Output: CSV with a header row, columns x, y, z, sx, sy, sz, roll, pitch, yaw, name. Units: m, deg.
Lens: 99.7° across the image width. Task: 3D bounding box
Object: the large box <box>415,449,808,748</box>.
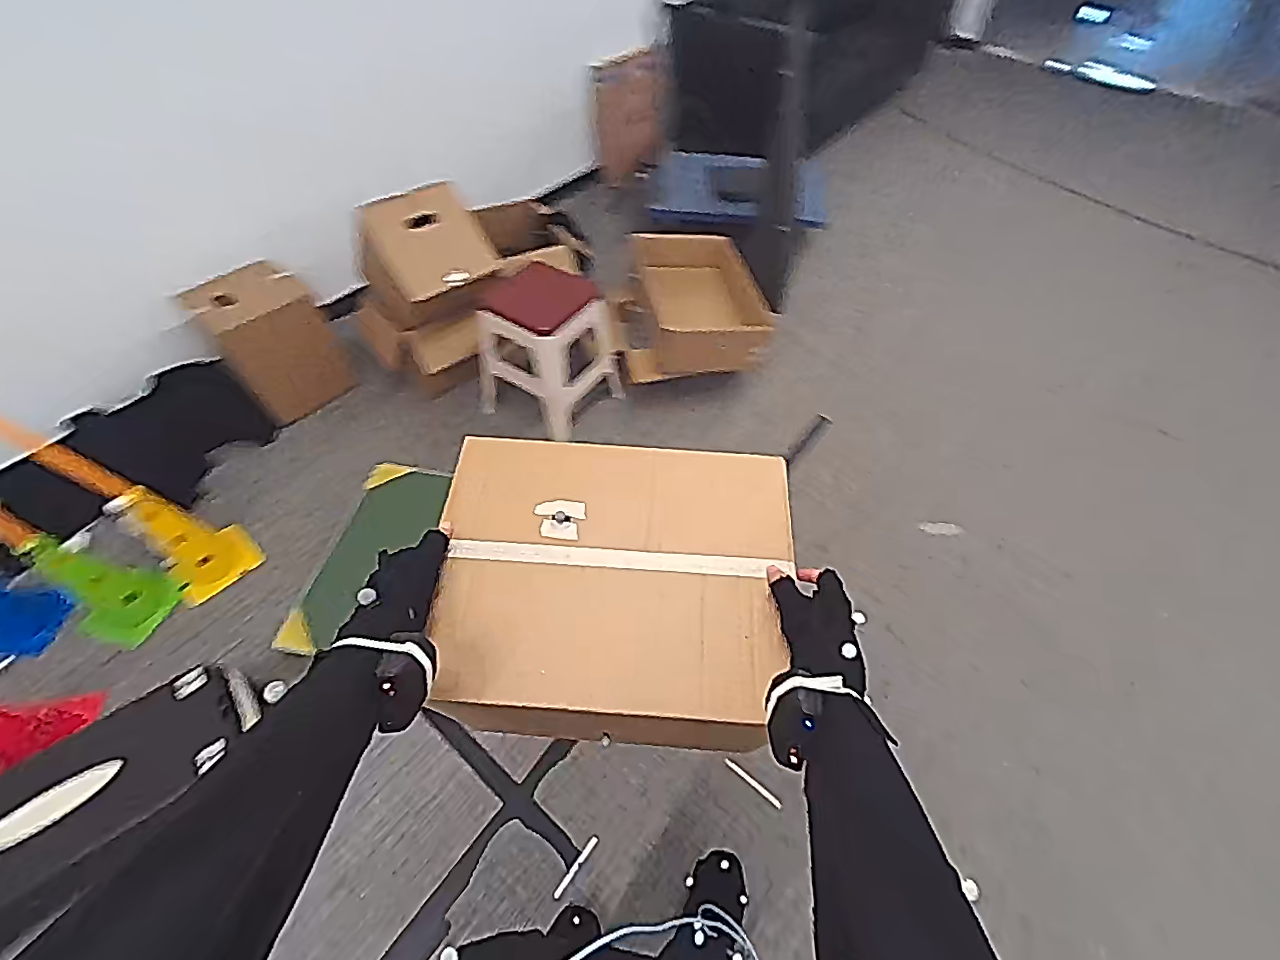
x,y,z,sx,sy,sz,roll,pitch,yaw,name
-0.020,0.178,0.742,0.408,0.320,0.320,4,58,2,large box
